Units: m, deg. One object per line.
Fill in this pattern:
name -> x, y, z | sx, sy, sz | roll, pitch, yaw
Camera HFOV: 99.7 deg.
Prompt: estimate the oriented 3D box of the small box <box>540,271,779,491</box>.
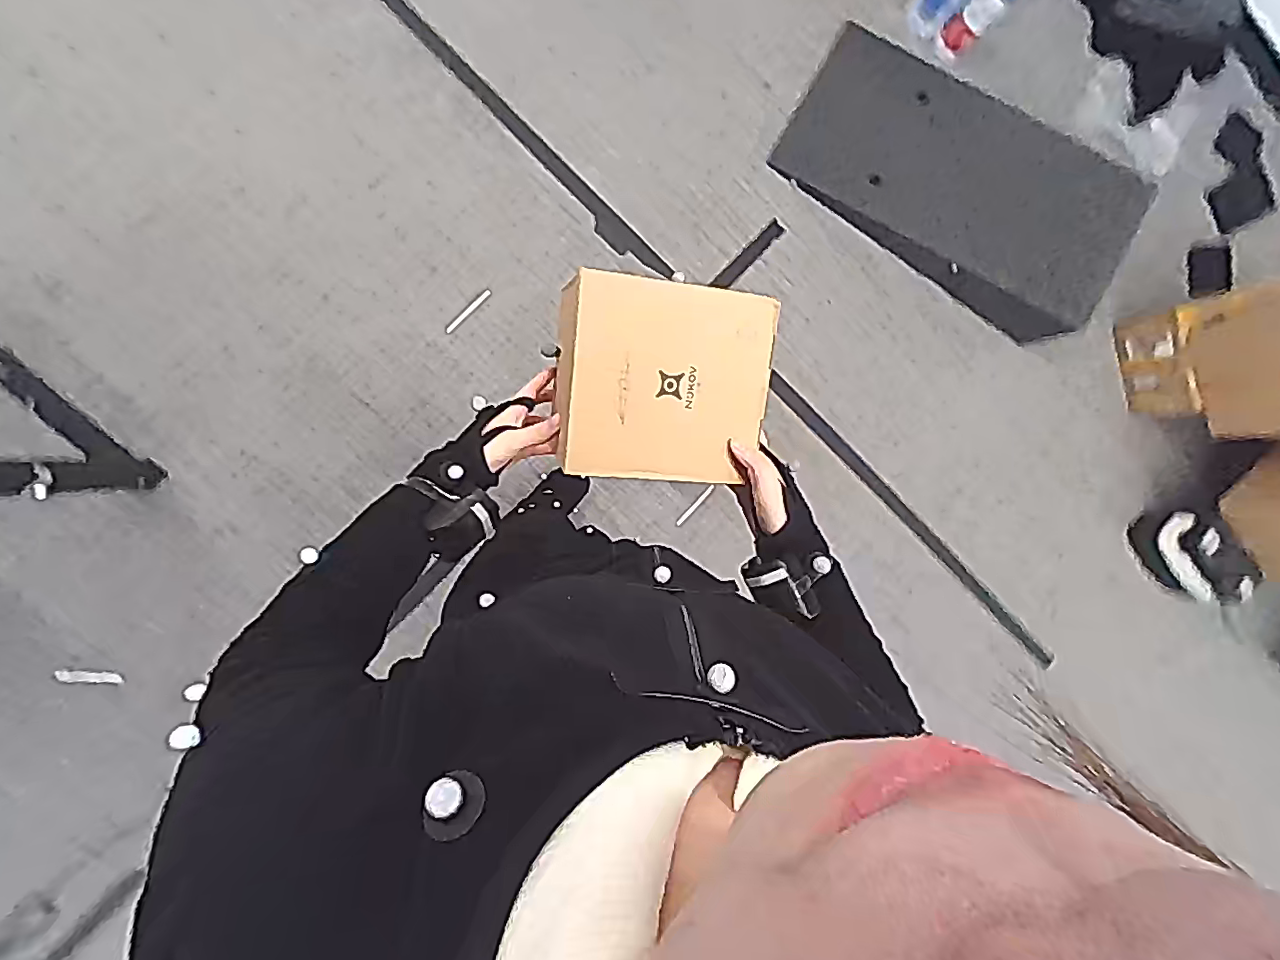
small box -> 0.004, -0.092, 0.515 | 0.179, 0.176, 0.168 | 3, 102, -15
